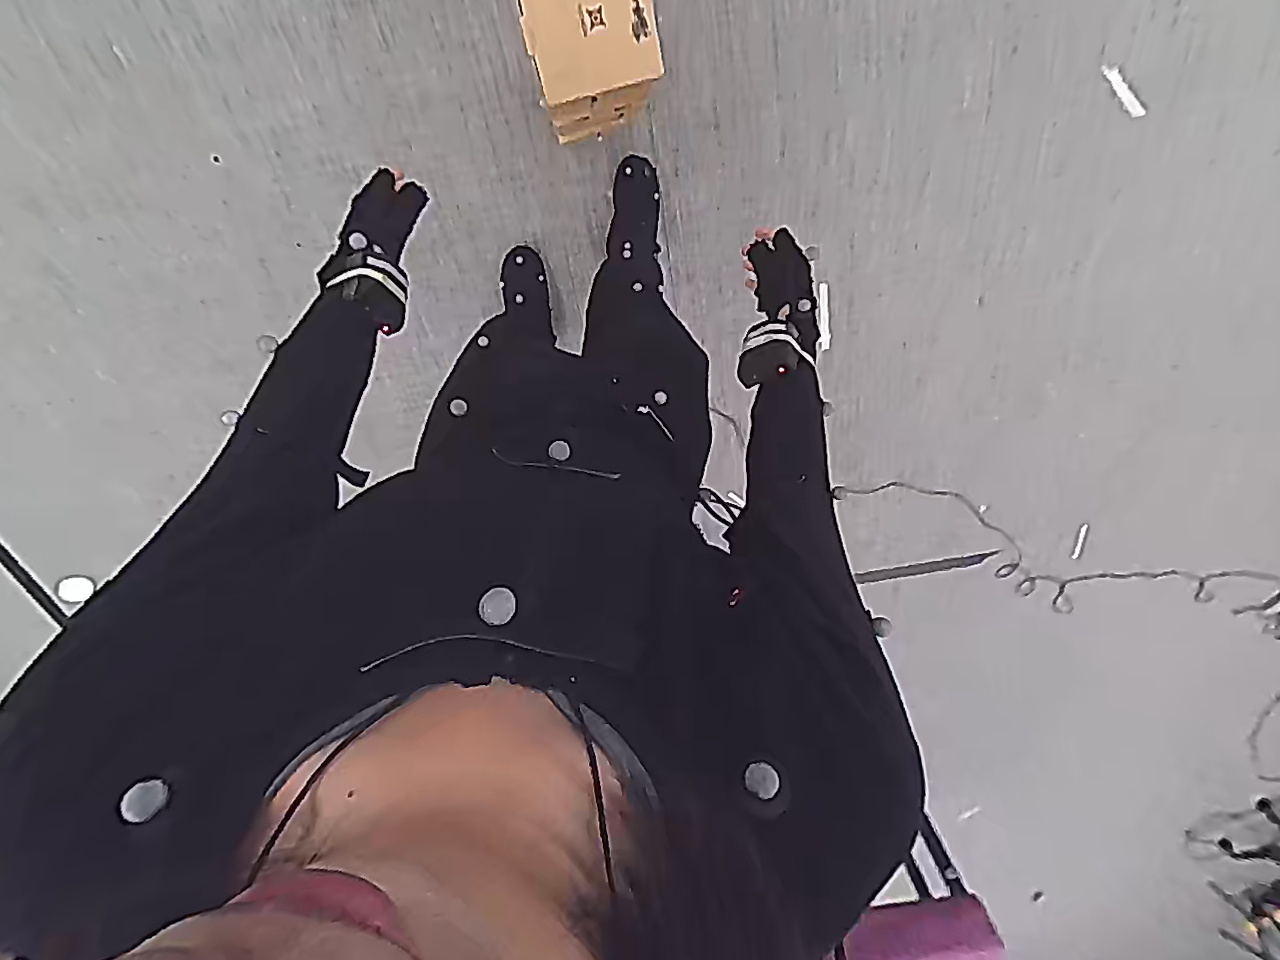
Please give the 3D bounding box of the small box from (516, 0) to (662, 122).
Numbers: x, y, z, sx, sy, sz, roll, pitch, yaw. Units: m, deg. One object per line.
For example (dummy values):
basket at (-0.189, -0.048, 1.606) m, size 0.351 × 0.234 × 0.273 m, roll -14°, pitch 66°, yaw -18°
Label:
small box at (-0.074, -0.646, 0.793) m, size 0.179 × 0.176 × 0.168 m, roll -13°, pitch 119°, yaw 2°

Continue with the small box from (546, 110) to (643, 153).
small box at (-0.106, -0.779, 1.089) m, size 0.179 × 0.176 × 0.168 m, roll -17°, pitch 118°, yaw 5°

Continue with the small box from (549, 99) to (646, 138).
small box at (-0.092, -0.715, 0.940) m, size 0.168 × 0.176 × 0.179 m, roll -15°, pitch 117°, yaw 1°
